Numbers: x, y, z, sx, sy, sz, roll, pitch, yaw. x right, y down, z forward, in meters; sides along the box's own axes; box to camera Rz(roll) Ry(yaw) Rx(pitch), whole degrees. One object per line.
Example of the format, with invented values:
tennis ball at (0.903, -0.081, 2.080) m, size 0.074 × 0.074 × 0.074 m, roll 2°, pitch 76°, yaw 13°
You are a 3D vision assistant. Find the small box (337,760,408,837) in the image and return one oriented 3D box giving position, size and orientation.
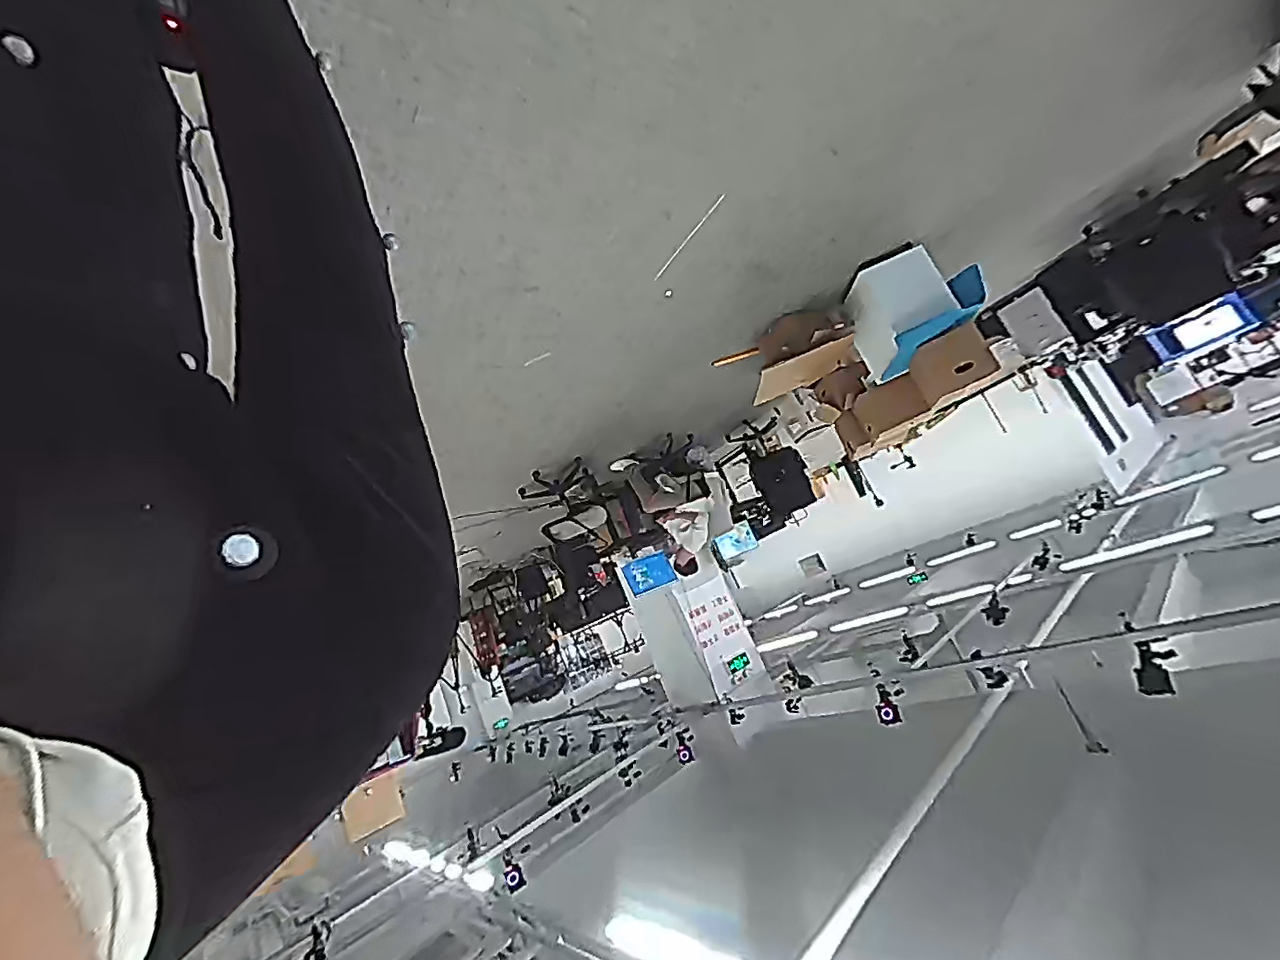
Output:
small box at (-0.928, 1.092, 1.865) m, size 0.179 × 0.176 × 0.168 m, roll -13°, pitch 165°, yaw -38°

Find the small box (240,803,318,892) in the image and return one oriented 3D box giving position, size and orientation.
small box at (-1.134, 1.139, 1.692) m, size 0.168 × 0.176 × 0.179 m, roll -11°, pitch 165°, yaw -42°
